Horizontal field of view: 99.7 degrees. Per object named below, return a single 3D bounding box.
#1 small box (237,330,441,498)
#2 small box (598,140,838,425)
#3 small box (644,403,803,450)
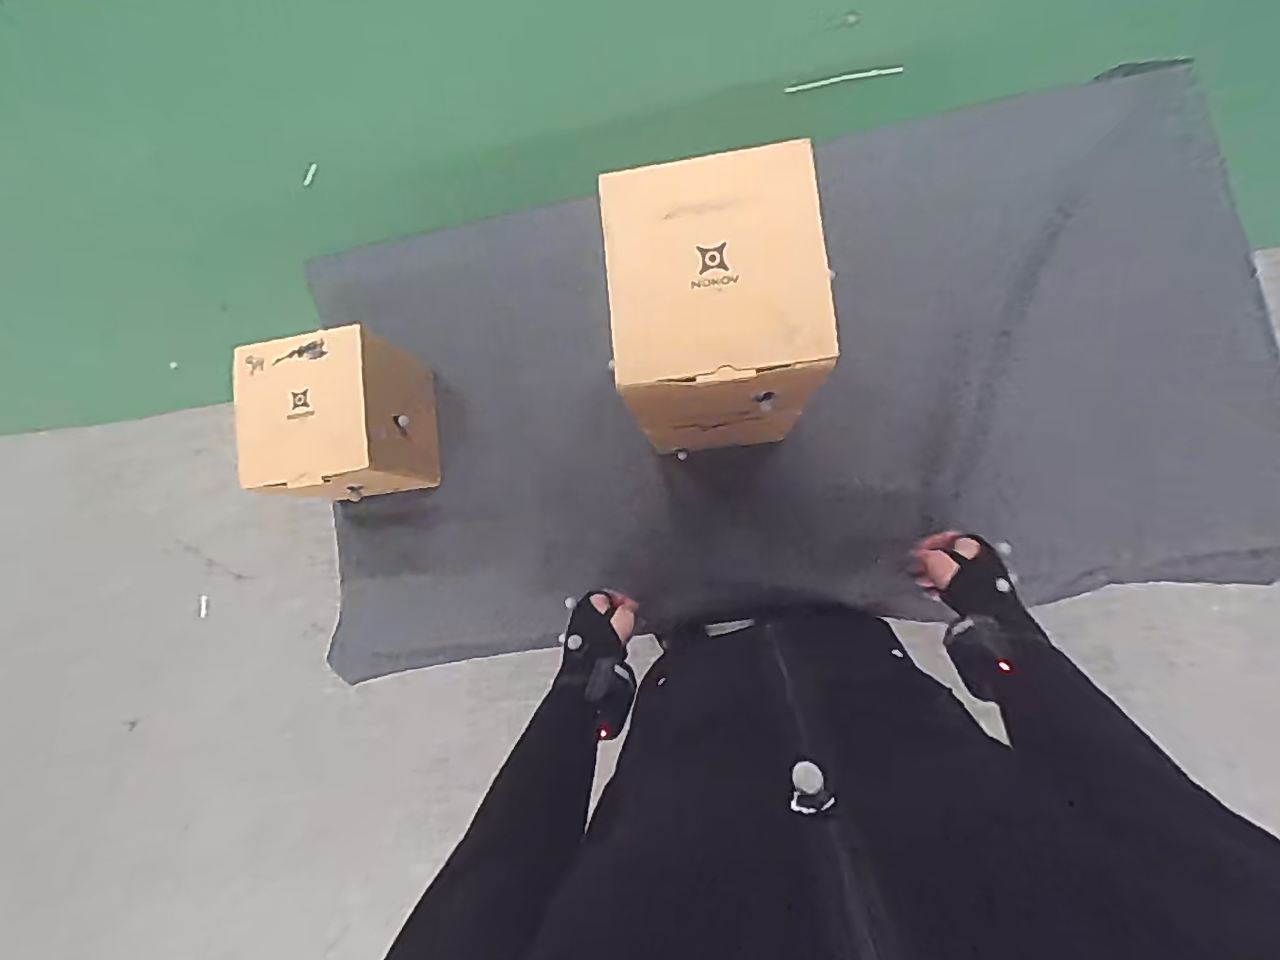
[{"bbox_3d":[-0.375,-0.072,0.702,0.168,0.176,0.179,-8,84,6],"label":"small box"},{"bbox_3d":[0.065,-0.151,0.481,0.168,0.176,0.179,-7,82,6],"label":"small box"},{"bbox_3d":[0.089,-0.135,0.640,0.168,0.176,0.179,-7,83,8],"label":"small box"}]
